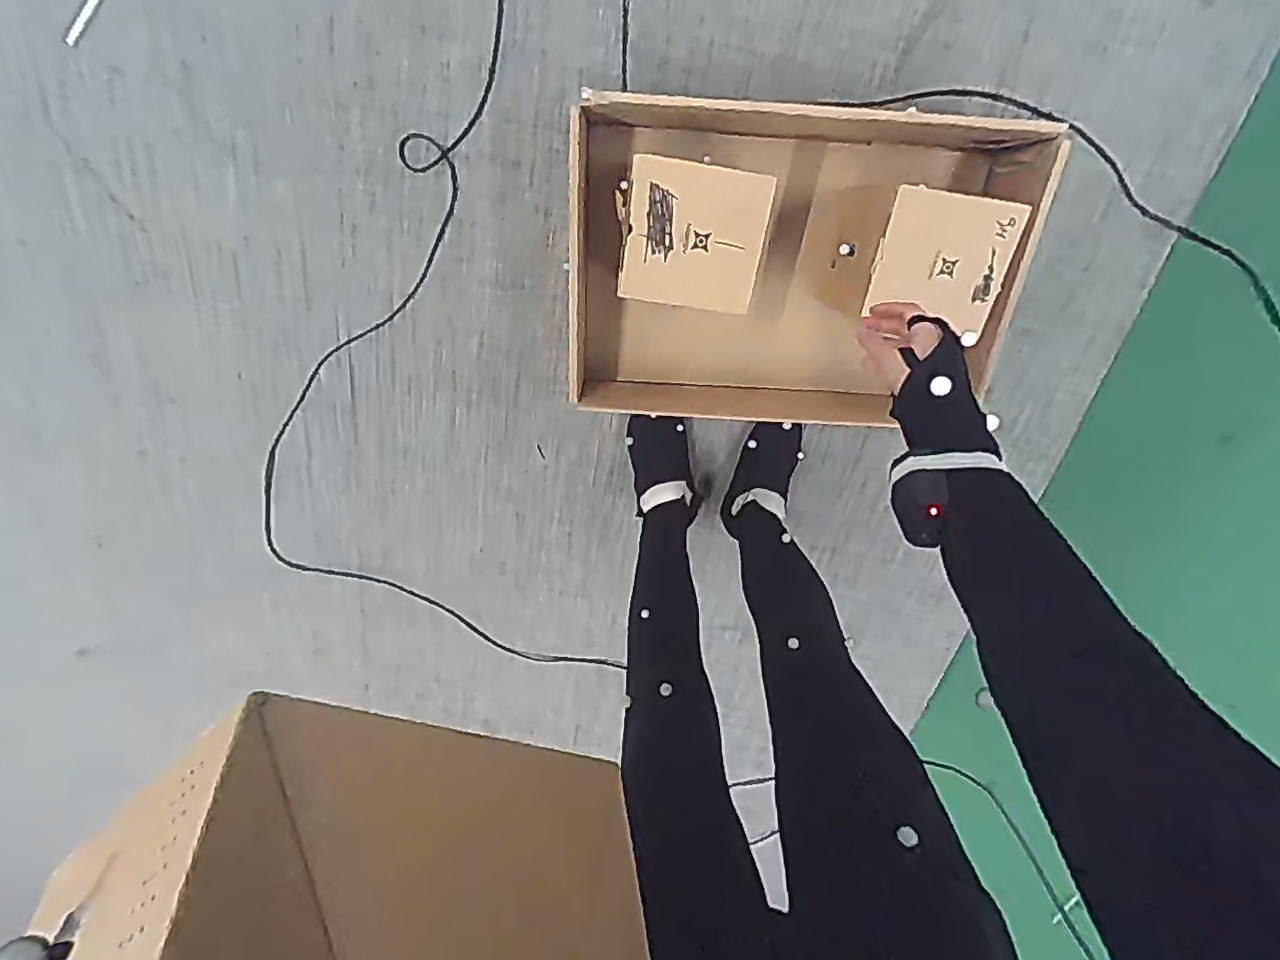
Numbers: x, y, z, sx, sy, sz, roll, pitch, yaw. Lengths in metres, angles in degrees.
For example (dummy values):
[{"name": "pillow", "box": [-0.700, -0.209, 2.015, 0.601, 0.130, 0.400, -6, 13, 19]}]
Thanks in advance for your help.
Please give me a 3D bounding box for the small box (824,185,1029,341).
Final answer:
[{"name": "small box", "box": [0.385, -0.307, 0.769, 0.179, 0.176, 0.168, 8, 115, -4]}]
